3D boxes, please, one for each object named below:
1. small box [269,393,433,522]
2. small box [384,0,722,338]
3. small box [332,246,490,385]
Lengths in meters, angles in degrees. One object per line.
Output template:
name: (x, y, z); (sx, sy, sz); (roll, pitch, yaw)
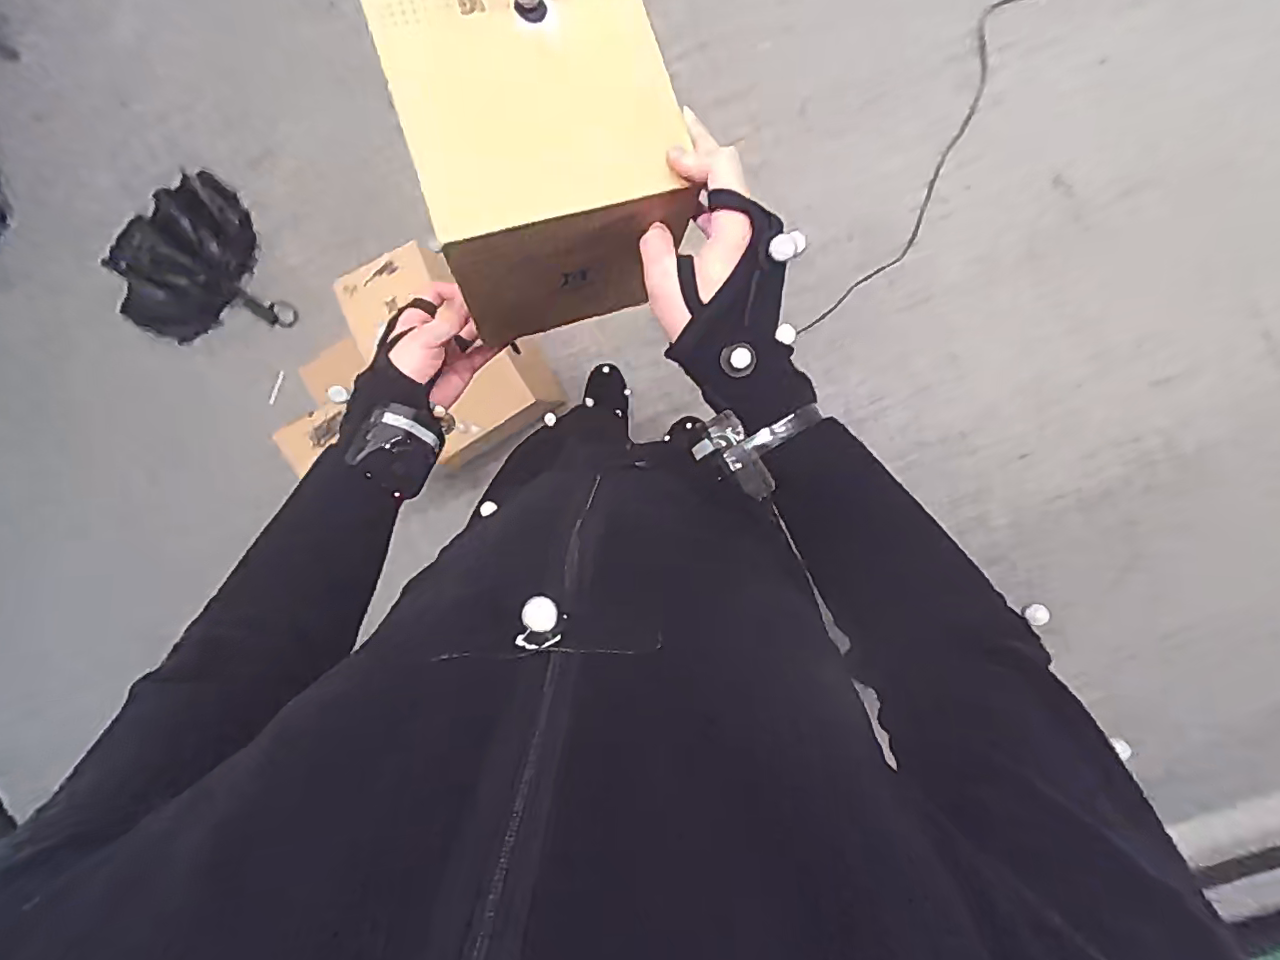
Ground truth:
small box: (-0.523, -0.048, 1.005); (0.168, 0.176, 0.179); (-26, 98, 7)
small box: (-0.063, -0.231, 0.396); (0.168, 0.179, 0.176); (-18, 85, -10)
small box: (-0.396, -0.279, 0.967); (0.168, 0.176, 0.179); (-23, 92, 7)
